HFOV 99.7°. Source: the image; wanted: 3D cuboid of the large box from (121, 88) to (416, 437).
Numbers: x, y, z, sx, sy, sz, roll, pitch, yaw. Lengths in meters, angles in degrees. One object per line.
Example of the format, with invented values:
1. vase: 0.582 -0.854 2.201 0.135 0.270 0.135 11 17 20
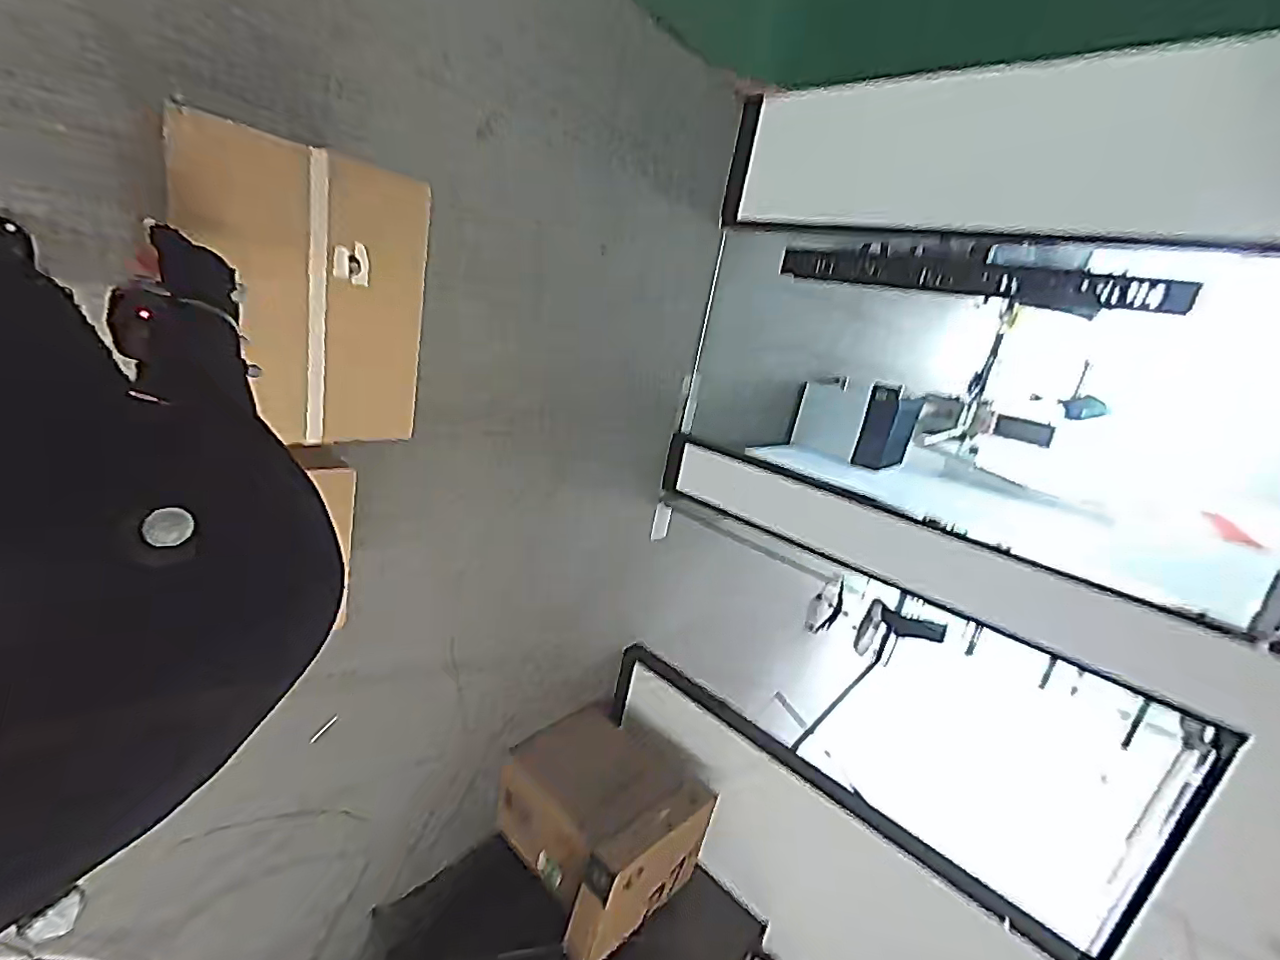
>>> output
1. large box: -0.579 -0.299 0.847 0.320 0.320 0.408 -6 113 -47
